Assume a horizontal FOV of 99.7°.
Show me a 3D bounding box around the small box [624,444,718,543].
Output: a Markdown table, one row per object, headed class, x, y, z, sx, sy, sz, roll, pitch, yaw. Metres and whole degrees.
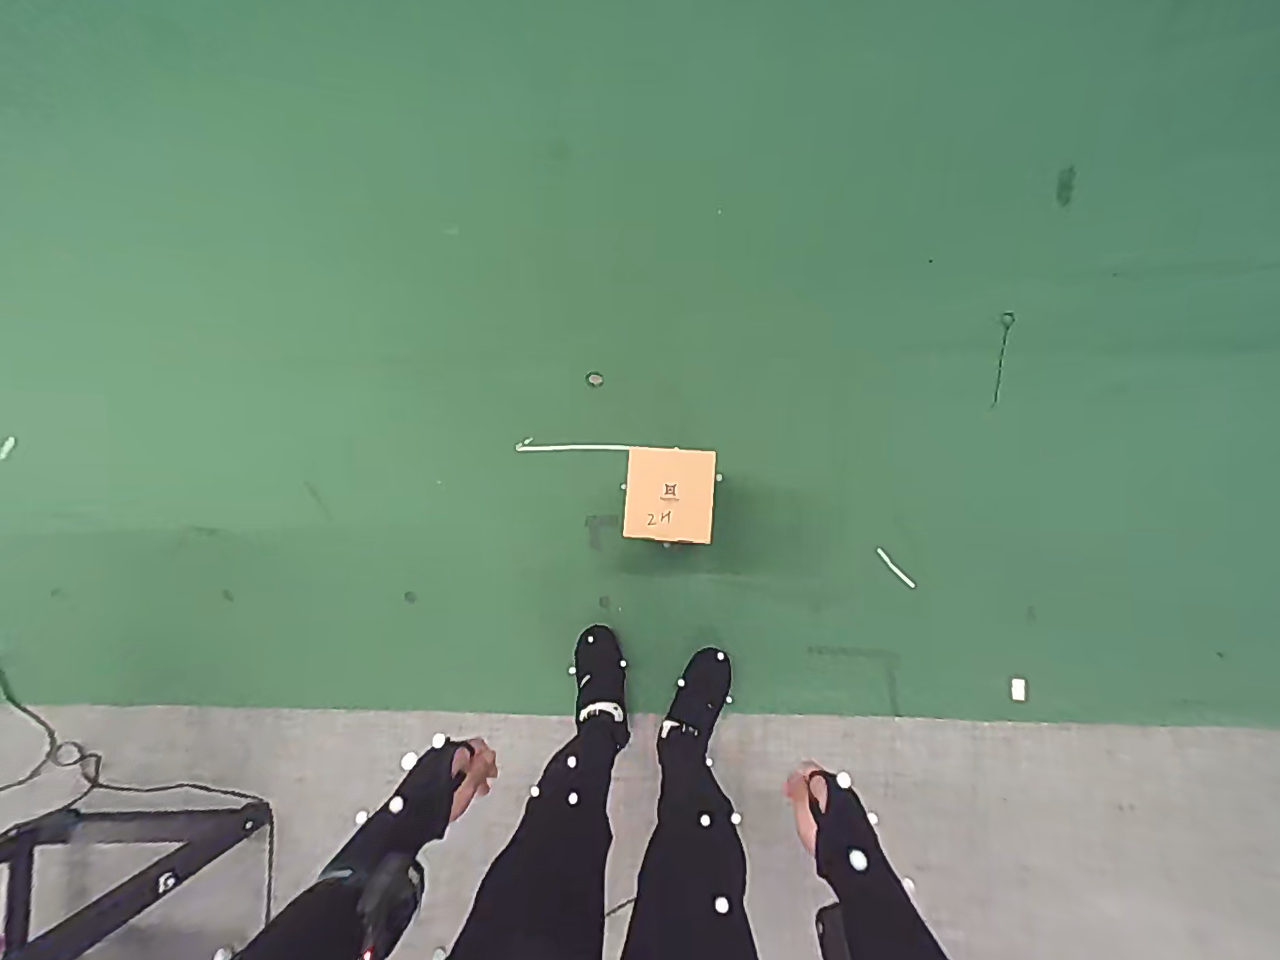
| class | x | y | z | sx | sy | sz | roll | pitch | yaw |
| --- | --- | --- | --- | --- | --- | --- | --- | --- | --- |
| small box | 0.063 | 0.032 | 1.088 | 0.168 | 0.176 | 0.179 | 4 | 86 | 5 |
